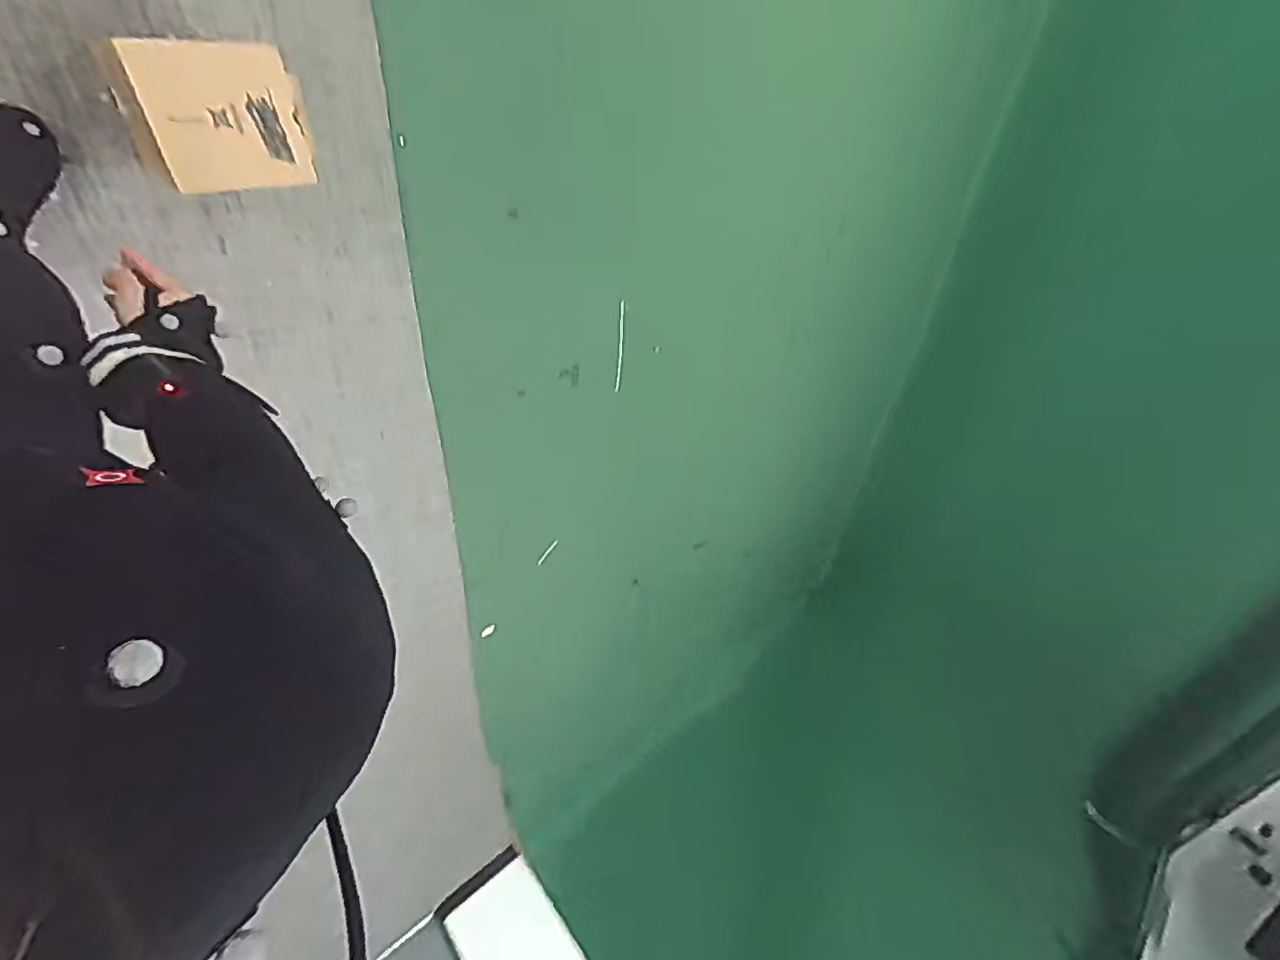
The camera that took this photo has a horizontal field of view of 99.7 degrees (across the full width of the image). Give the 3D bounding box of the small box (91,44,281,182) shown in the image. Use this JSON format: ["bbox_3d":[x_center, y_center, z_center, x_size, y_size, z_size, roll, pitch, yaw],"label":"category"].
[{"bbox_3d":[-0.713,-0.580,0.855,0.179,0.176,0.168,-27,135,-32],"label":"small box"}]
